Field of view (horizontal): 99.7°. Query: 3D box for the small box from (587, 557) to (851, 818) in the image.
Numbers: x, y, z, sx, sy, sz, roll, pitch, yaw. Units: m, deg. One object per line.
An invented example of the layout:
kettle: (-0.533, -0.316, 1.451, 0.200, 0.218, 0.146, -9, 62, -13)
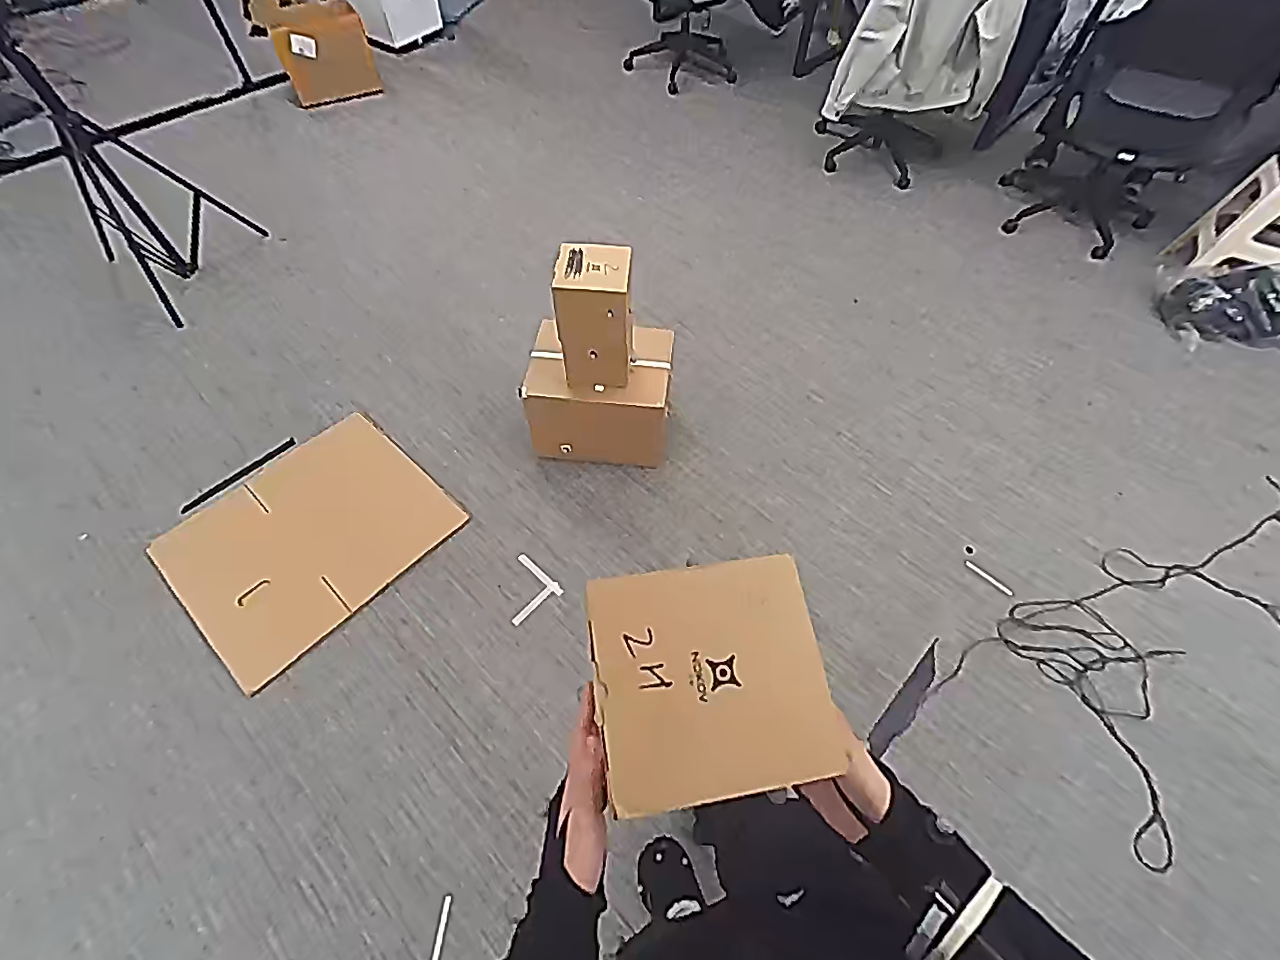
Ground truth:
small box: (0.049, 0.175, 0.478, 0.179, 0.176, 0.168, -6, 68, -8)

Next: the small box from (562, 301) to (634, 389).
small box: (-0.110, -0.368, 1.487, 0.179, 0.176, 0.168, 4, 59, 0)
